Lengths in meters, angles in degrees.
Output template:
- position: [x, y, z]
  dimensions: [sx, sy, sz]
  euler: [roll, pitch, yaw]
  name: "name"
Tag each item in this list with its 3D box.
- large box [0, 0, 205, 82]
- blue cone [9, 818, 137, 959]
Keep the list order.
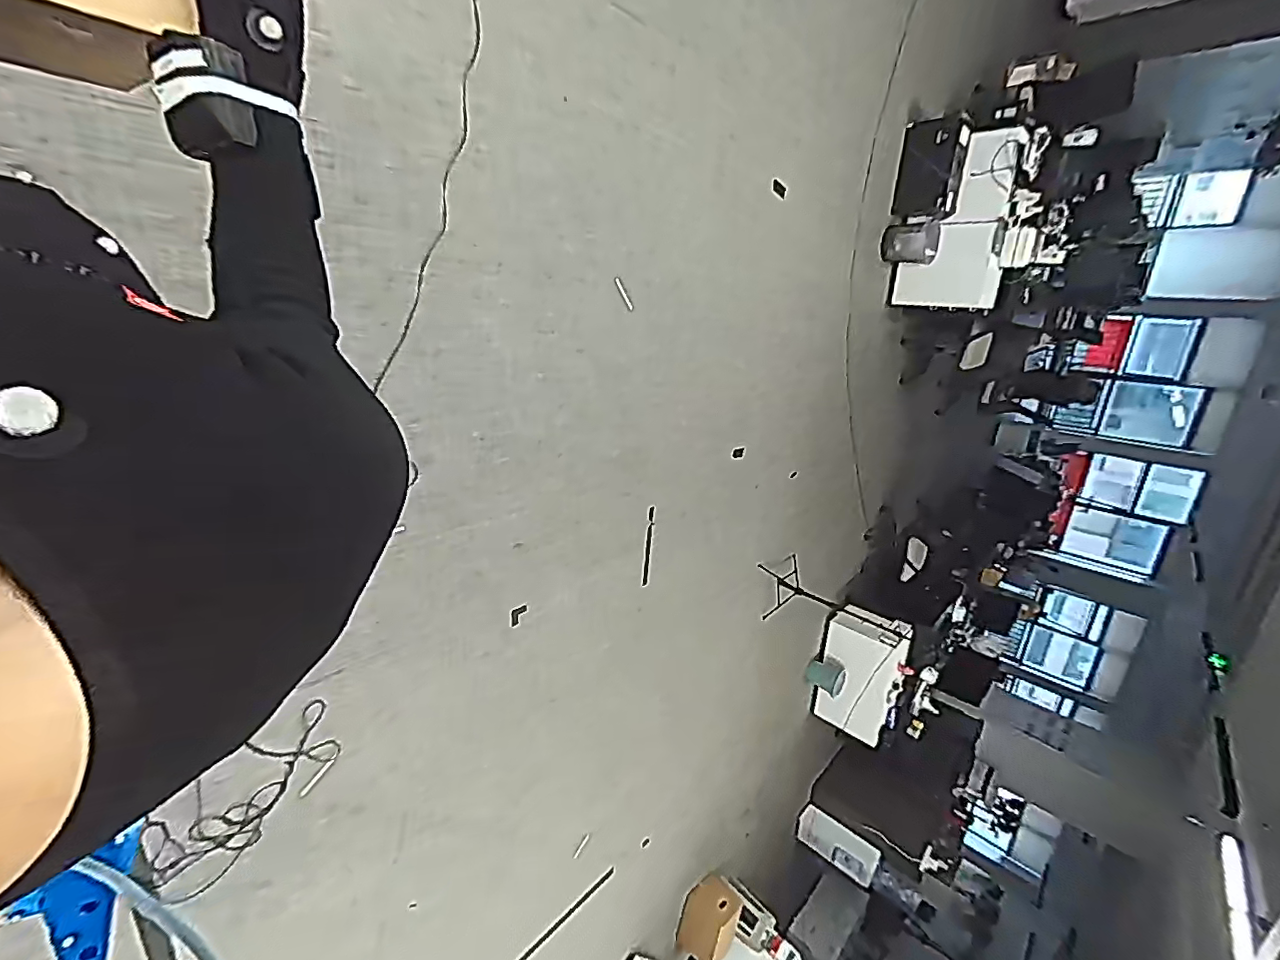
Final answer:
- position: [-0.542, -0.465, 0.281]
  dimensions: [0.408, 0.320, 0.320]
  euler: [-18, 122, -47]
  name: "large box"
- position: [-1.181, 0.925, 1.139]
  dimensions: [0.193, 0.380, 0.192]
  euler: [16, 93, -49]
  name: "blue cone"
